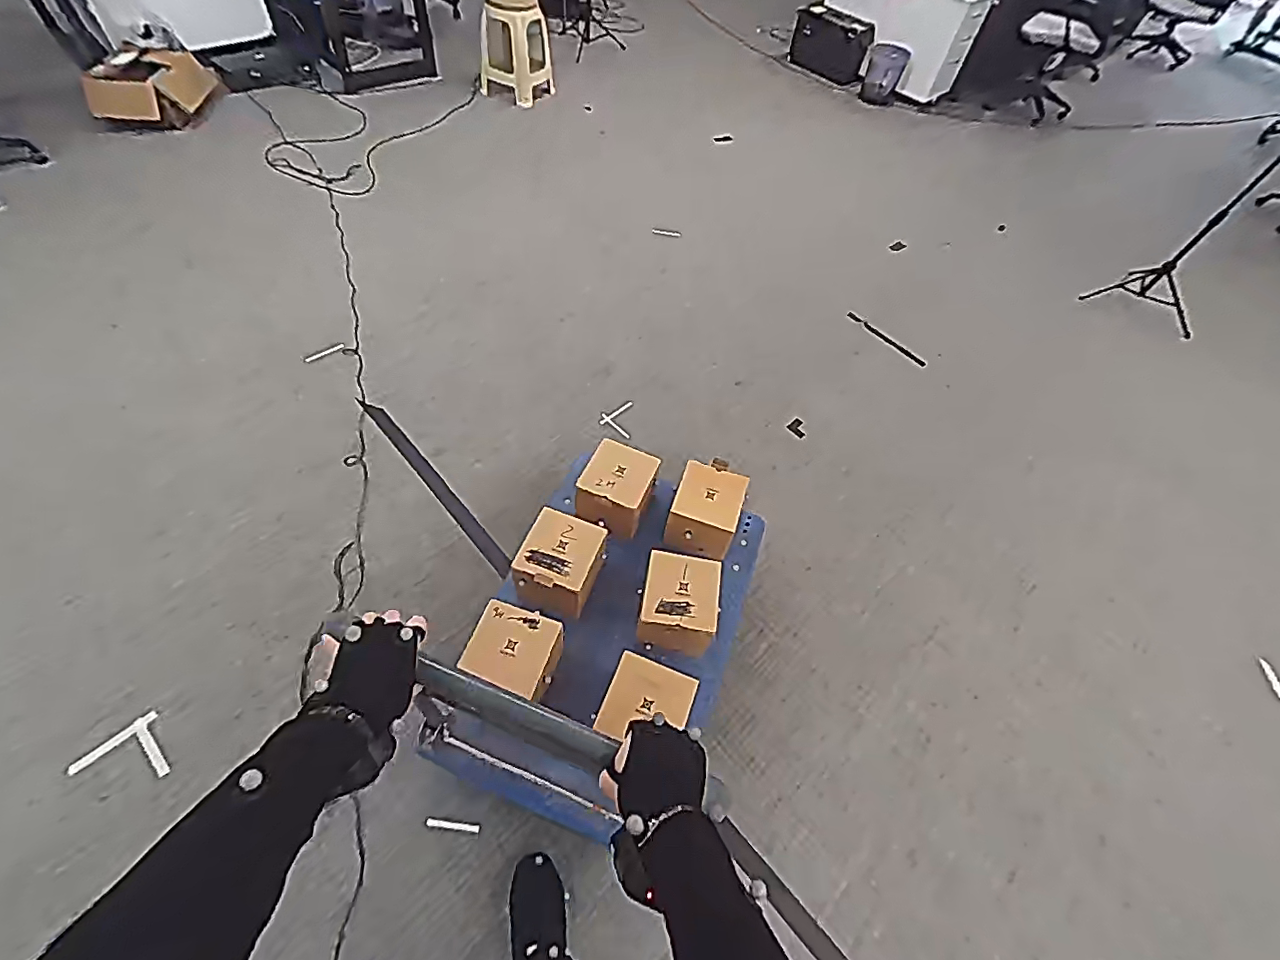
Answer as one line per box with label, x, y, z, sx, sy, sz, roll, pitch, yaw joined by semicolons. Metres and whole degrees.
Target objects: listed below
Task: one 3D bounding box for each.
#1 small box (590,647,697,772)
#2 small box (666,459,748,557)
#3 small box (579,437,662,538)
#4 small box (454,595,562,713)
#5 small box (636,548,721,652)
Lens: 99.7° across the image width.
small box;0.005;0.484;1.131;0.168;0.176;0.179;22;55;8
small box;0.172;0.079;1.431;0.168;0.176;0.179;19;55;6
small box;-0.056;0.023;1.439;0.168;0.176;0.179;22;57;9
small box;-0.272;0.380;1.166;0.168;0.176;0.179;19;56;5
small box;0.087;0.287;1.276;0.168;0.176;0.179;11;54;1
